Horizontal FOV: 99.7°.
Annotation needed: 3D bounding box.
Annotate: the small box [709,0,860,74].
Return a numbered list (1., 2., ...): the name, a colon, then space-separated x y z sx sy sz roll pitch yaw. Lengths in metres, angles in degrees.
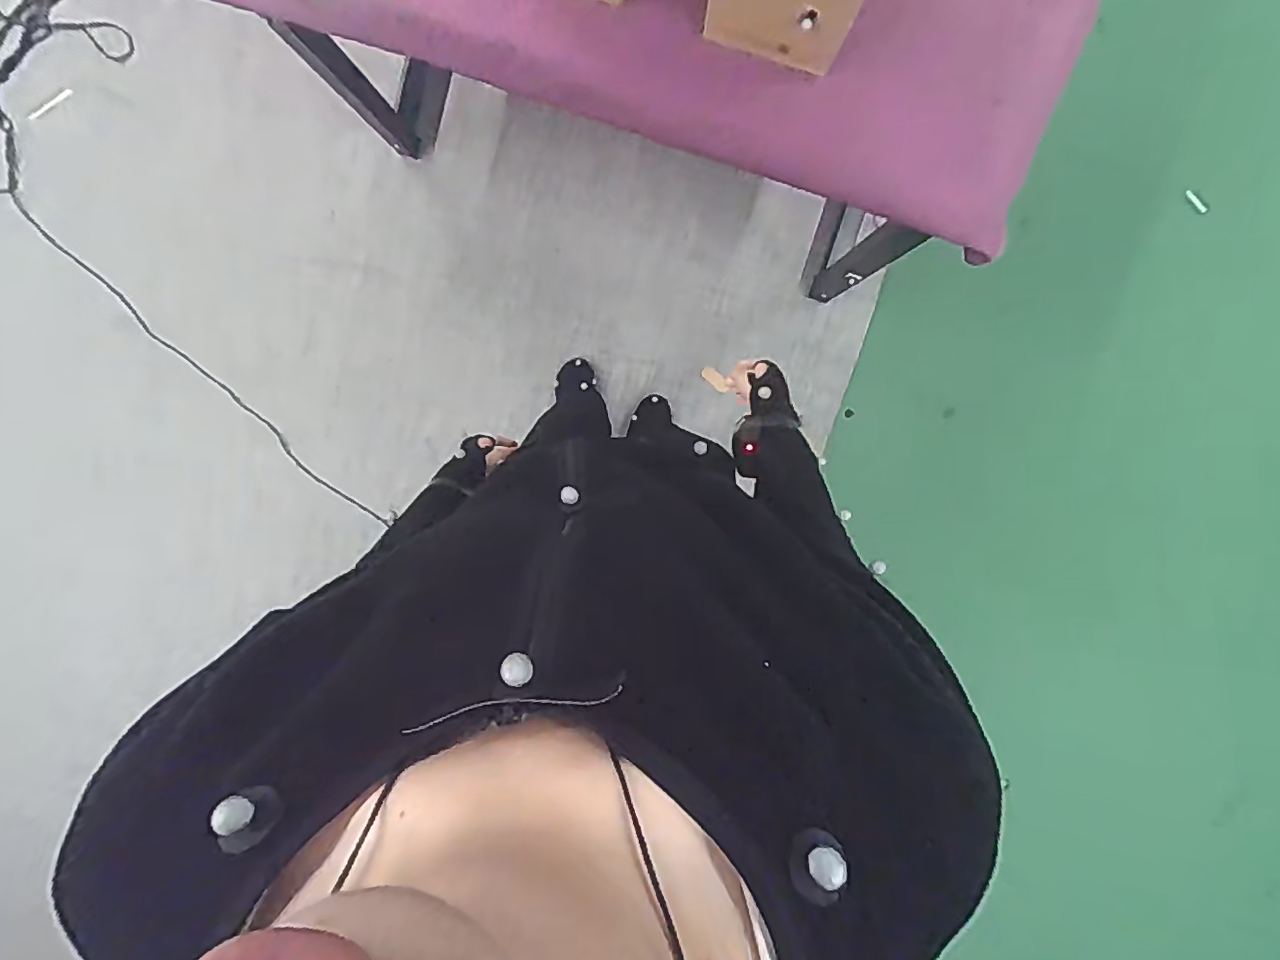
1. small box: 0.182 -0.609 0.604 0.168 0.176 0.179 19 96 -2
